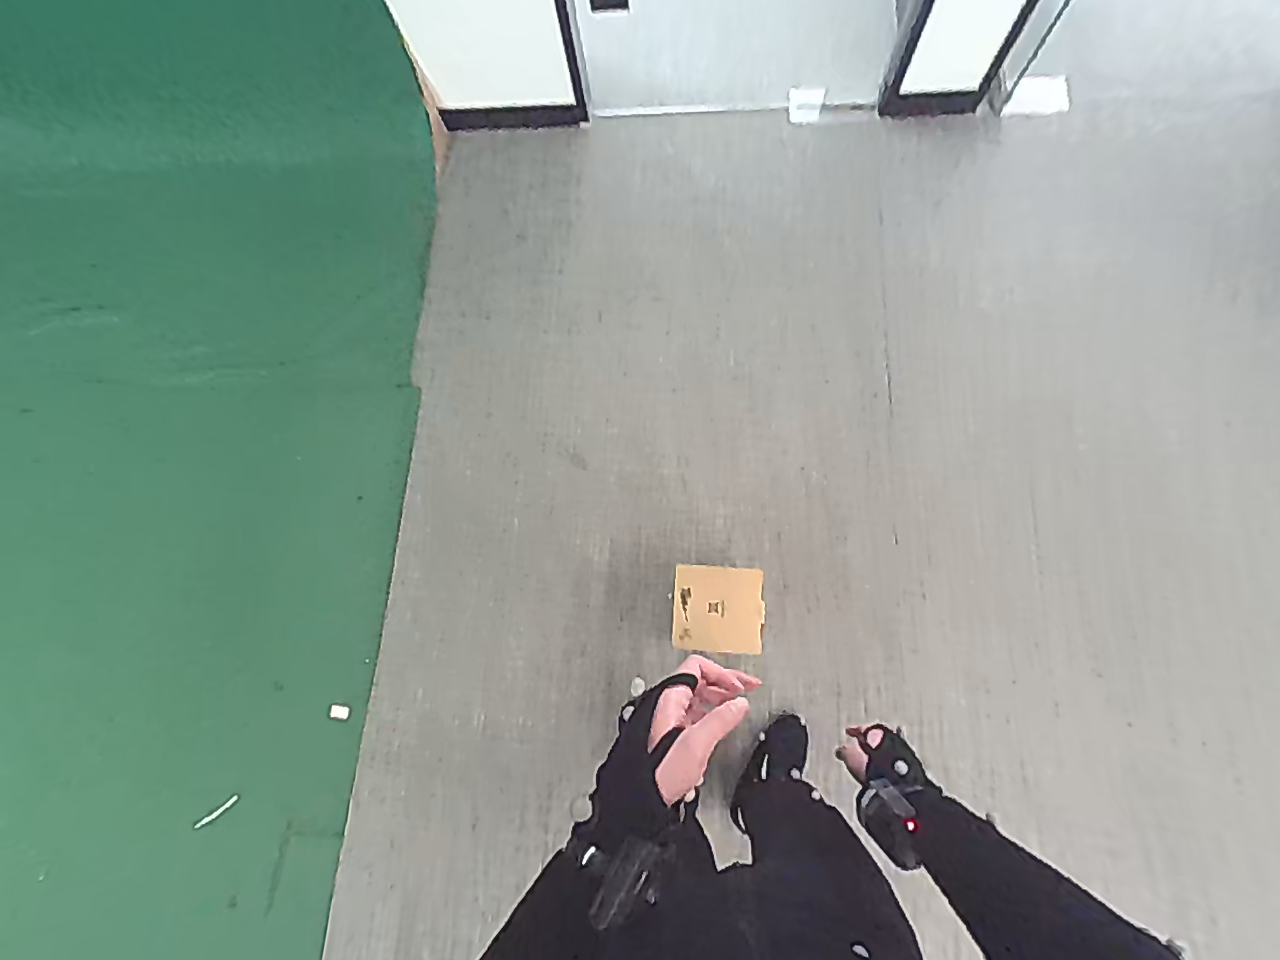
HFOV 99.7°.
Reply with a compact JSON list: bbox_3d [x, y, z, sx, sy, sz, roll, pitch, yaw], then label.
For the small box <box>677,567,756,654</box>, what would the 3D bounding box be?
[{"bbox_3d":[0.179,0.308,1.285,0.168,0.176,0.179,5,77,8],"label":"small box"}]
